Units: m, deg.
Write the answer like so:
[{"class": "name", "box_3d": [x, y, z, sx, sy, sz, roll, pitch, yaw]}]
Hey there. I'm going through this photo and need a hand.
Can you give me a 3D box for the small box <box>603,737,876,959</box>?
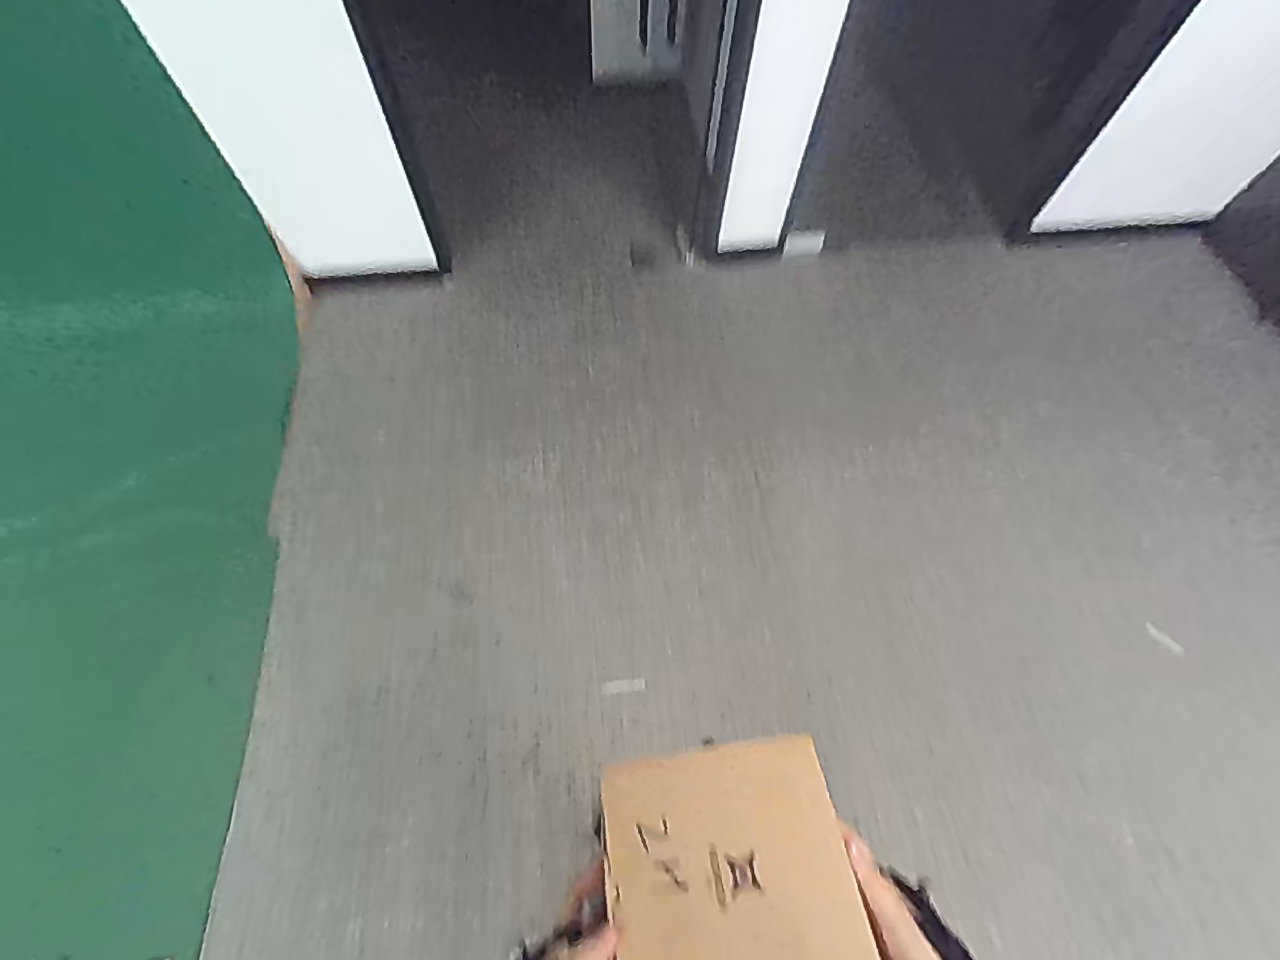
[{"class": "small box", "box_3d": [0.061, 0.327, 0.448, 0.179, 0.176, 0.168, -4, 51, -6]}]
